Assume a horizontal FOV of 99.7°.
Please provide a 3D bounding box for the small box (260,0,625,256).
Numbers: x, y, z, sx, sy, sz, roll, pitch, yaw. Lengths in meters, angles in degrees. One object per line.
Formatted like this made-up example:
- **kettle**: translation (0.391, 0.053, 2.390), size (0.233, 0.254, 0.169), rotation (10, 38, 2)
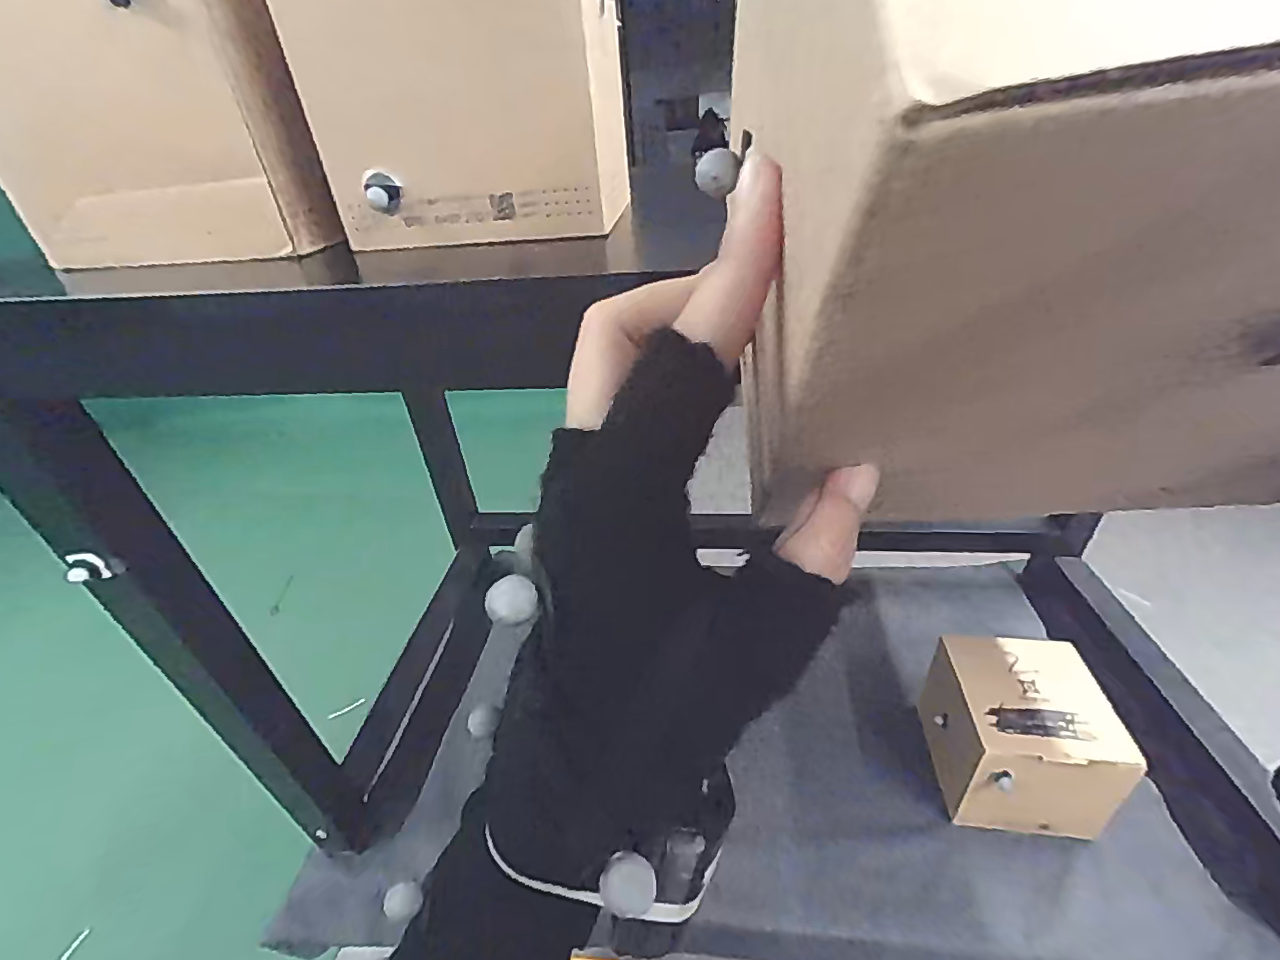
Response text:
- **small box**: translation (-0.104, -0.254, 0.365), size (0.168, 0.176, 0.179), rotation (-1, 33, 6)

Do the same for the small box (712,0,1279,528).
- **small box**: translation (0.110, -0.085, 0.148), size (0.179, 0.176, 0.168), rotation (-3, 72, 7)
